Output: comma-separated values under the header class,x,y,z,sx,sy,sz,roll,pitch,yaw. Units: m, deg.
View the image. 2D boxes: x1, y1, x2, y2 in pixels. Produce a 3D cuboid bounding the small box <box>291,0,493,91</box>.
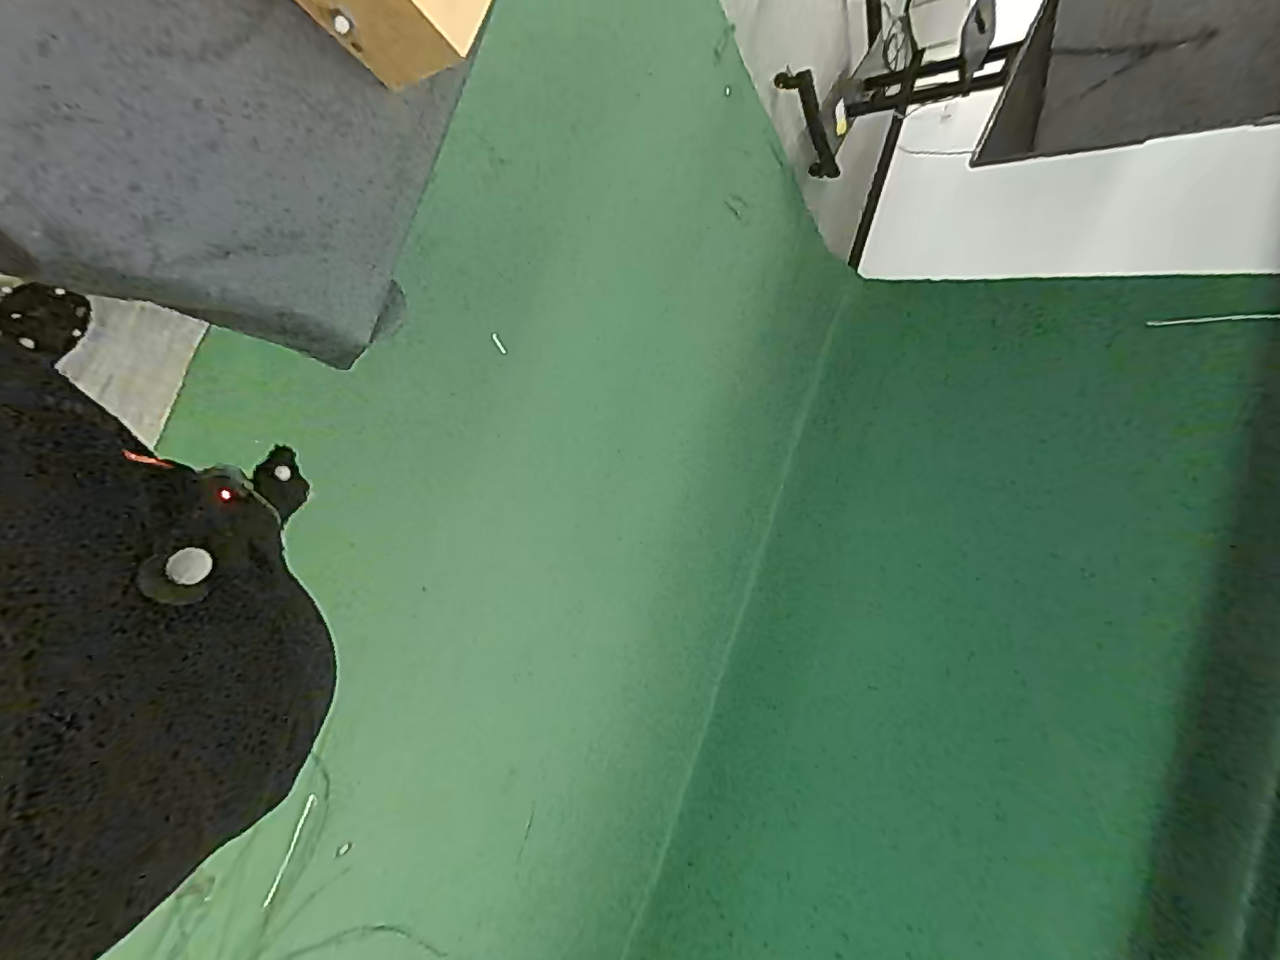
class,x,y,z,sx,sy,sz,roll,pitch,yaw
small box,-0.278,-0.591,0.608,0.168,0.176,0.179,28,80,-52
